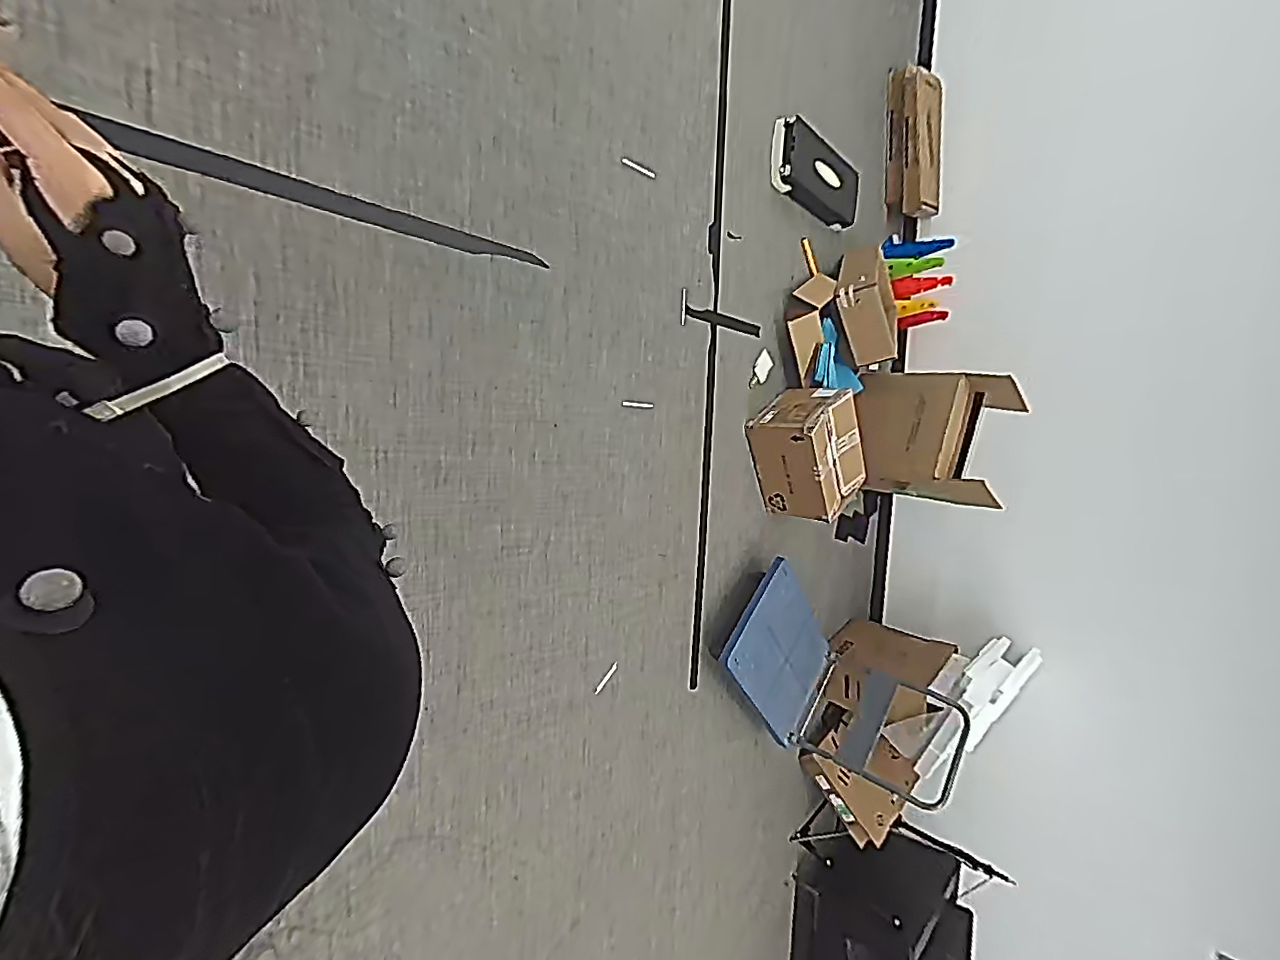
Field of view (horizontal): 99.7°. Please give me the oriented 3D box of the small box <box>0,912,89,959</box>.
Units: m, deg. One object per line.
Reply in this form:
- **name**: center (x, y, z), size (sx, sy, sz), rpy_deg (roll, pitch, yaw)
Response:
- **small box**: center (-1.086, 0.916, 0.948), size (0.168, 0.176, 0.179), rpy_deg (0, 97, -46)

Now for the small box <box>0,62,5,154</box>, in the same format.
- **small box**: center (-0.435, -0.269, 0.248), size (0.179, 0.176, 0.168), rpy_deg (-5, 99, -44)
